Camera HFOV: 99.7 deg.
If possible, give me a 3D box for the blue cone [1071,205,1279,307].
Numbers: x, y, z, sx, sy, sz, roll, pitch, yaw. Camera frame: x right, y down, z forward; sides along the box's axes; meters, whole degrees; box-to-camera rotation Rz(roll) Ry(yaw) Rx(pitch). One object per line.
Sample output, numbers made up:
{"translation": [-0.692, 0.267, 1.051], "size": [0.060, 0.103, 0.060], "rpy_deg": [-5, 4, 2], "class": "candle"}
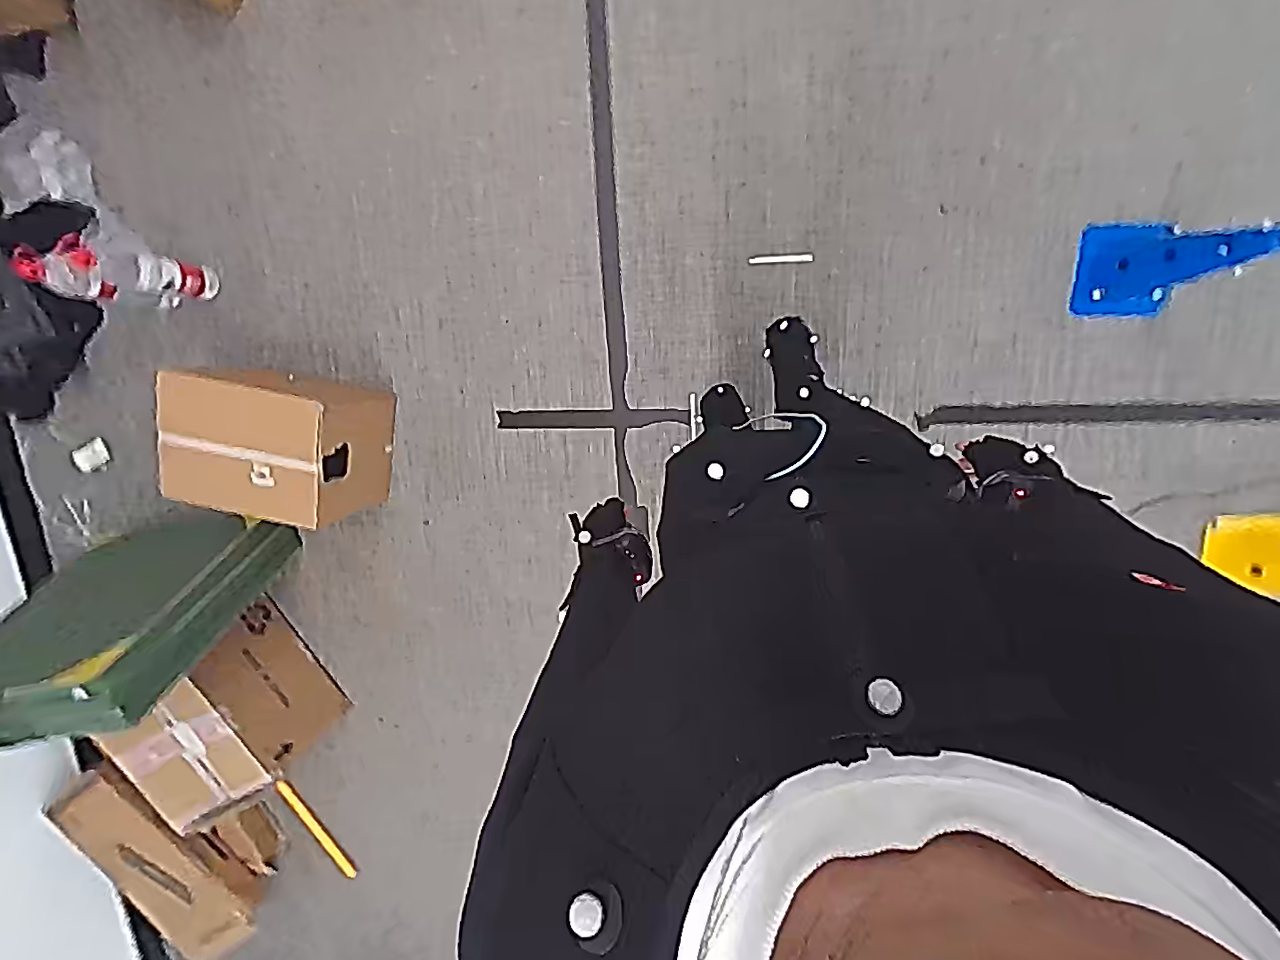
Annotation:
{"translation": [1.068, -0.459, 1.067], "size": [0.193, 0.380, 0.192], "rpy_deg": [3, 102, 6], "class": "blue cone"}
